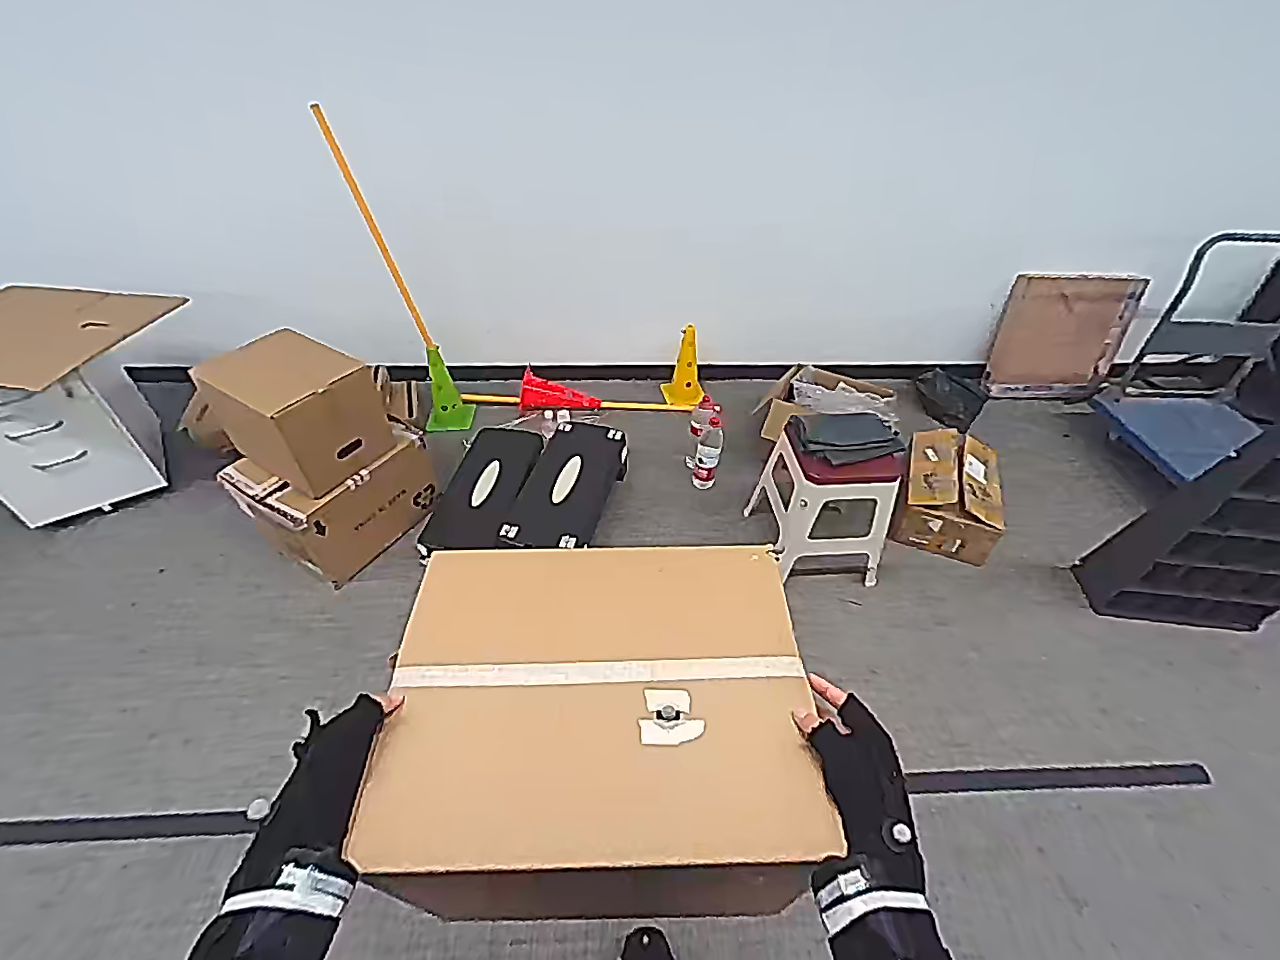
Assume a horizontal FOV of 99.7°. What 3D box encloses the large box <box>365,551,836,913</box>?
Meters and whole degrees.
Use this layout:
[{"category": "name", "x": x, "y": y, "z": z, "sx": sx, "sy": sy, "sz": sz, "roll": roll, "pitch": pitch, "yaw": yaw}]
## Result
[{"category": "large box", "x": -0.038, "y": 0.304, "z": 0.658, "sx": 0.408, "sy": 0.320, "sz": 0.320, "roll": -1, "pitch": 46, "yaw": -1}]
